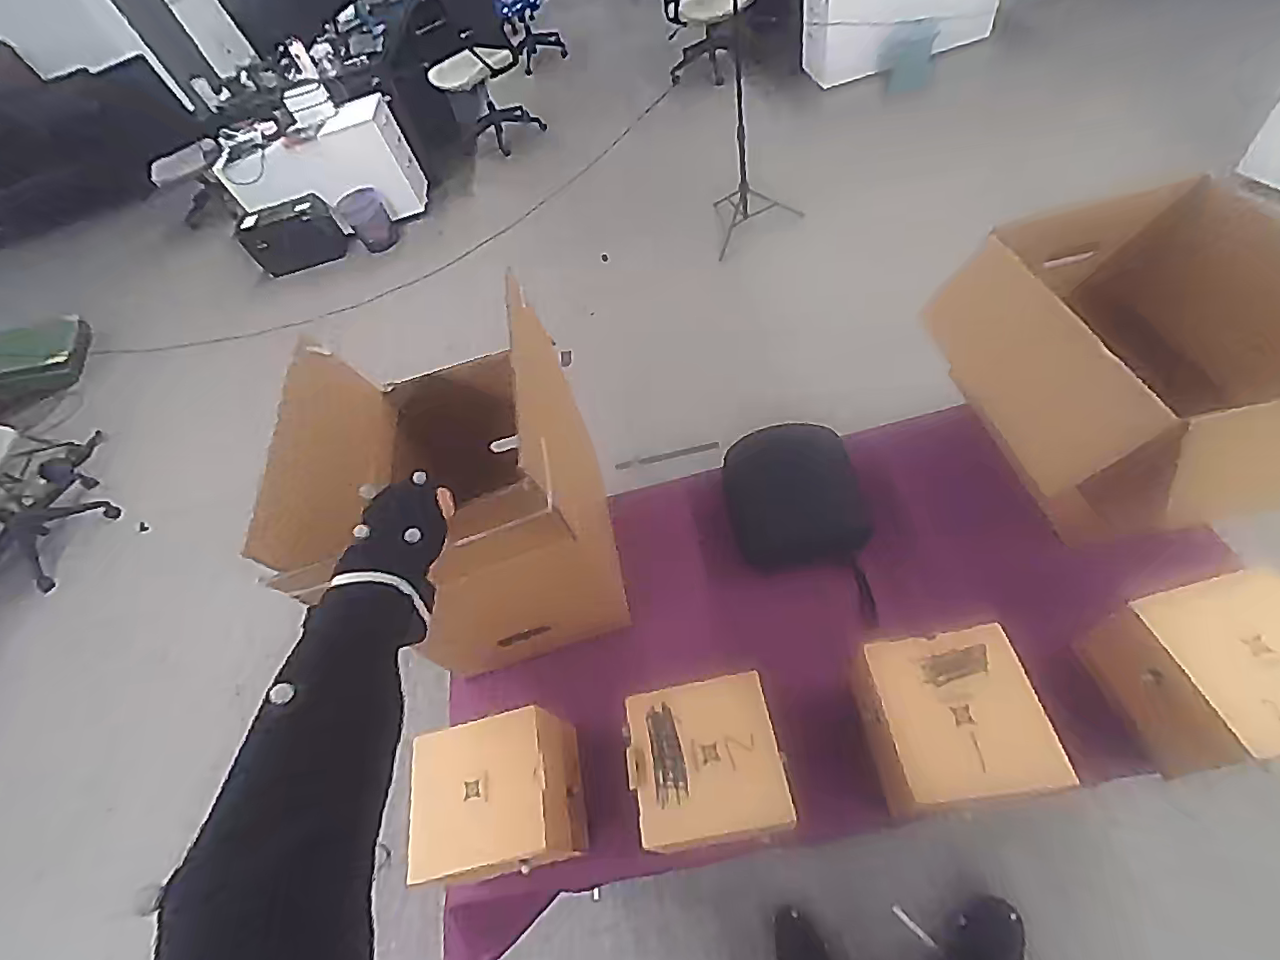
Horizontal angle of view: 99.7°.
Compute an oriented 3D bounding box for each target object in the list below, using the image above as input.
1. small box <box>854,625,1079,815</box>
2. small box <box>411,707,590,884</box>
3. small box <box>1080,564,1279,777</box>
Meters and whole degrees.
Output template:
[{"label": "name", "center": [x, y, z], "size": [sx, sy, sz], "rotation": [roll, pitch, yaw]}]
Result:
[{"label": "small box", "center": [0.380, 0.303, 0.675], "size": [0.168, 0.176, 0.179], "rotation": [-12, 54, 7]}, {"label": "small box", "center": [-0.183, 0.433, 0.737], "size": [0.179, 0.176, 0.168], "rotation": [-16, 53, 2]}, {"label": "small box", "center": [0.683, 0.230, 0.641], "size": [0.168, 0.176, 0.179], "rotation": [-17, 53, 5]}]
